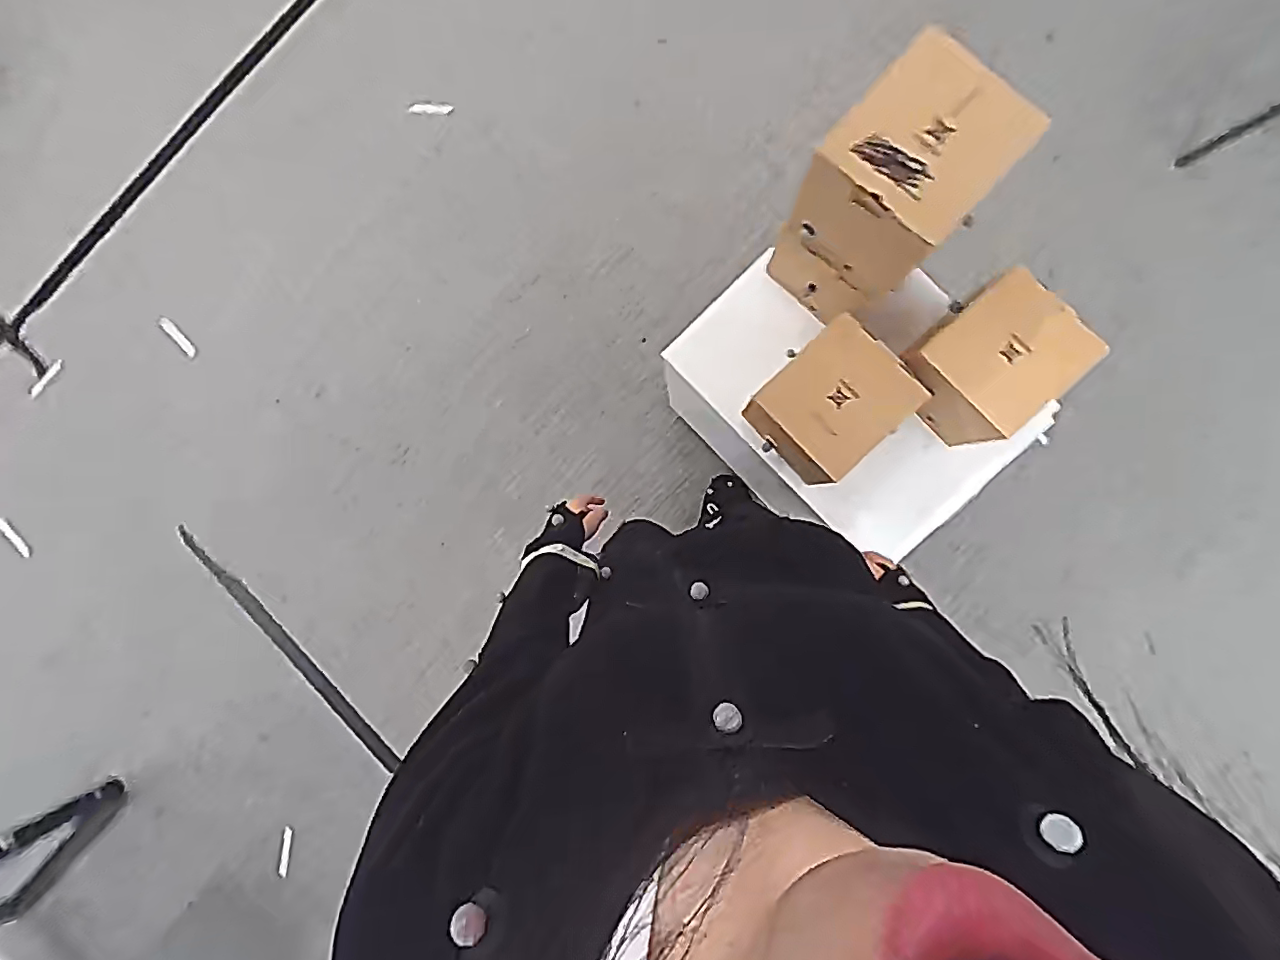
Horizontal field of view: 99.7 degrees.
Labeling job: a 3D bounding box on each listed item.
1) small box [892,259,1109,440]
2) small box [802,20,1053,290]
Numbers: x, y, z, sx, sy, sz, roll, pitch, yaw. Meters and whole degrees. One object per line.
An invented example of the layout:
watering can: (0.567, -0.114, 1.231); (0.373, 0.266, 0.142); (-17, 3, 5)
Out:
small box: (0.500, -0.174, 0.790); (0.179, 0.176, 0.168); (-43, 86, 3)
small box: (0.314, -0.360, 0.639); (0.168, 0.176, 0.179); (44, 93, 3)
